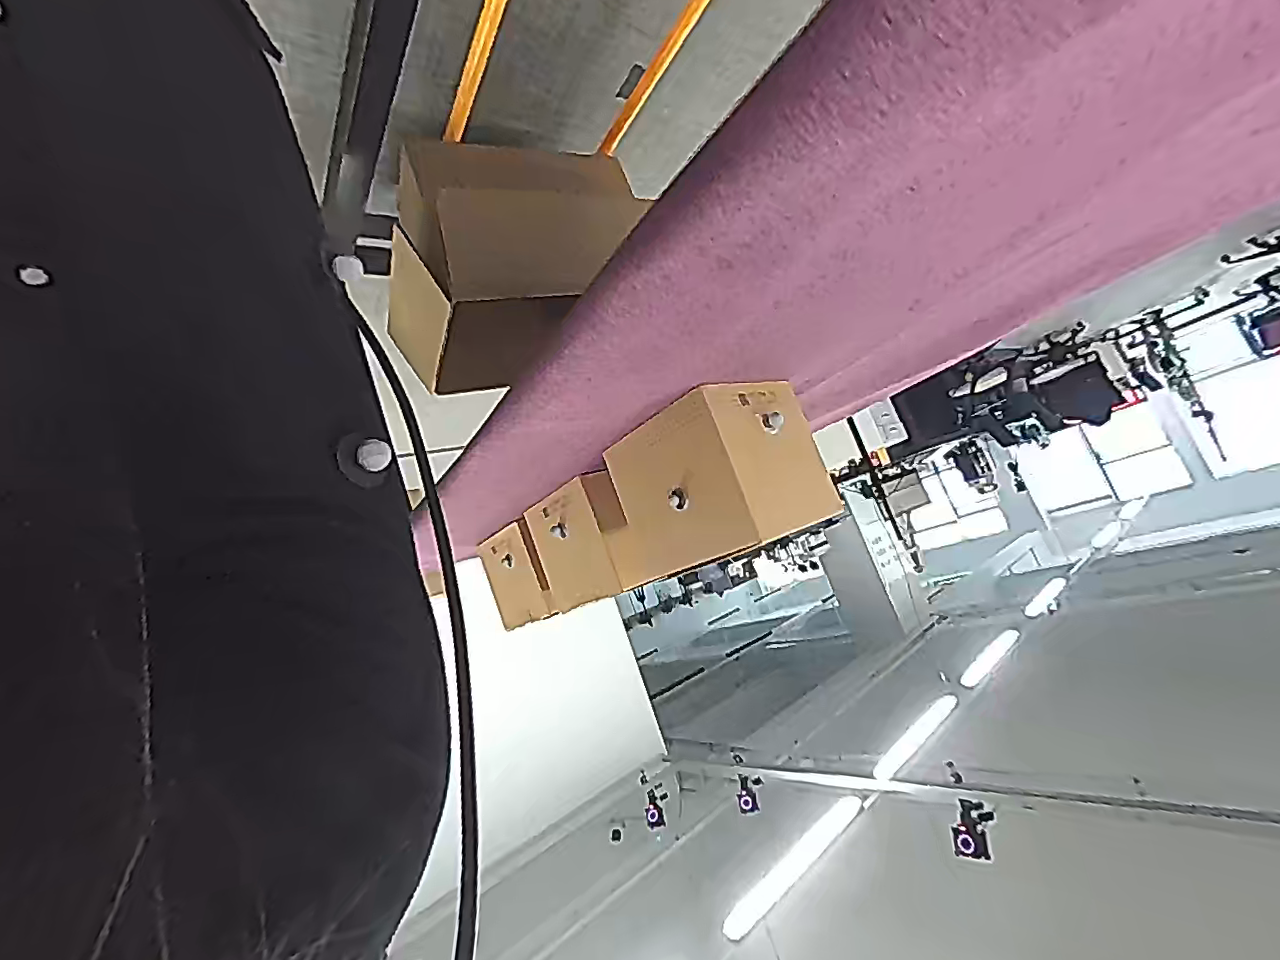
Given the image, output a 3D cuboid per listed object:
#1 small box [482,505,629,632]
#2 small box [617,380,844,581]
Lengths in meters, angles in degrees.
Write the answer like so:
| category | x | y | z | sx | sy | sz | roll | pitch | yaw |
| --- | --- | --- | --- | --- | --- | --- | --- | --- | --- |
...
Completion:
| category | x | y | z | sx | sy | sz | roll | pitch | yaw |
| --- | --- | --- | --- | --- | --- | --- | --- | --- | --- |
| small box | -0.155 | 0.154 | 0.973 | 0.179 | 0.176 | 0.168 | -12 | 167 | -43 |
| small box | 0.094 | 0.000 | 0.626 | 0.168 | 0.176 | 0.179 | -11 | 166 | -43 |
